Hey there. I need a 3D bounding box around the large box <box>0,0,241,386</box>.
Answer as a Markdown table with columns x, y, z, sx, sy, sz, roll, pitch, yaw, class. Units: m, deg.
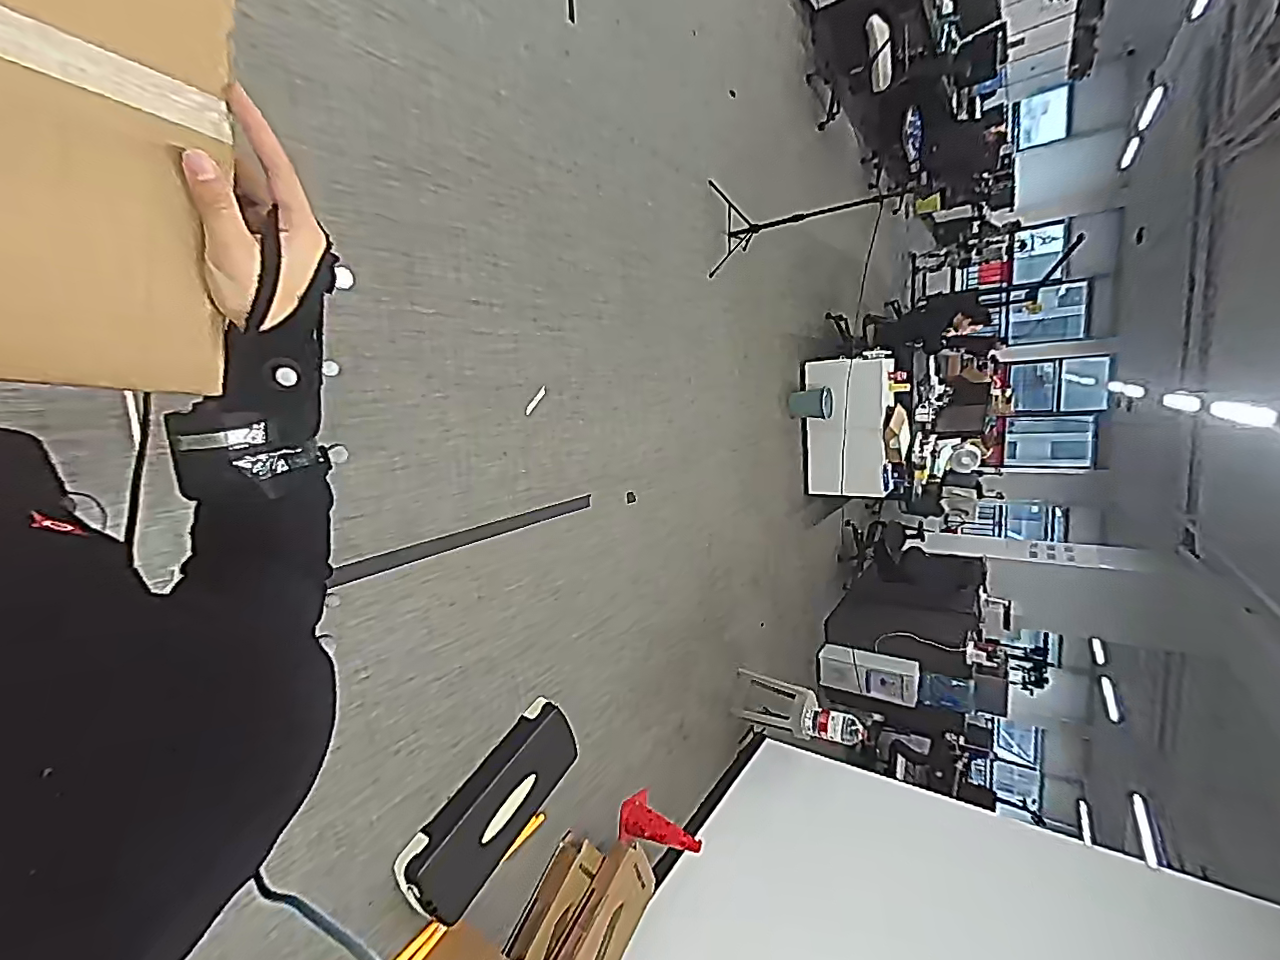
| x | y | z | sx | sy | sz | roll | pitch | yaw | class |
| --- | --- | --- | --- | --- | --- | --- | --- | --- | --- |
| -0.480 | -0.231 | 0.253 | 0.408 | 0.320 | 0.320 | -4 | 108 | -53 | large box |
